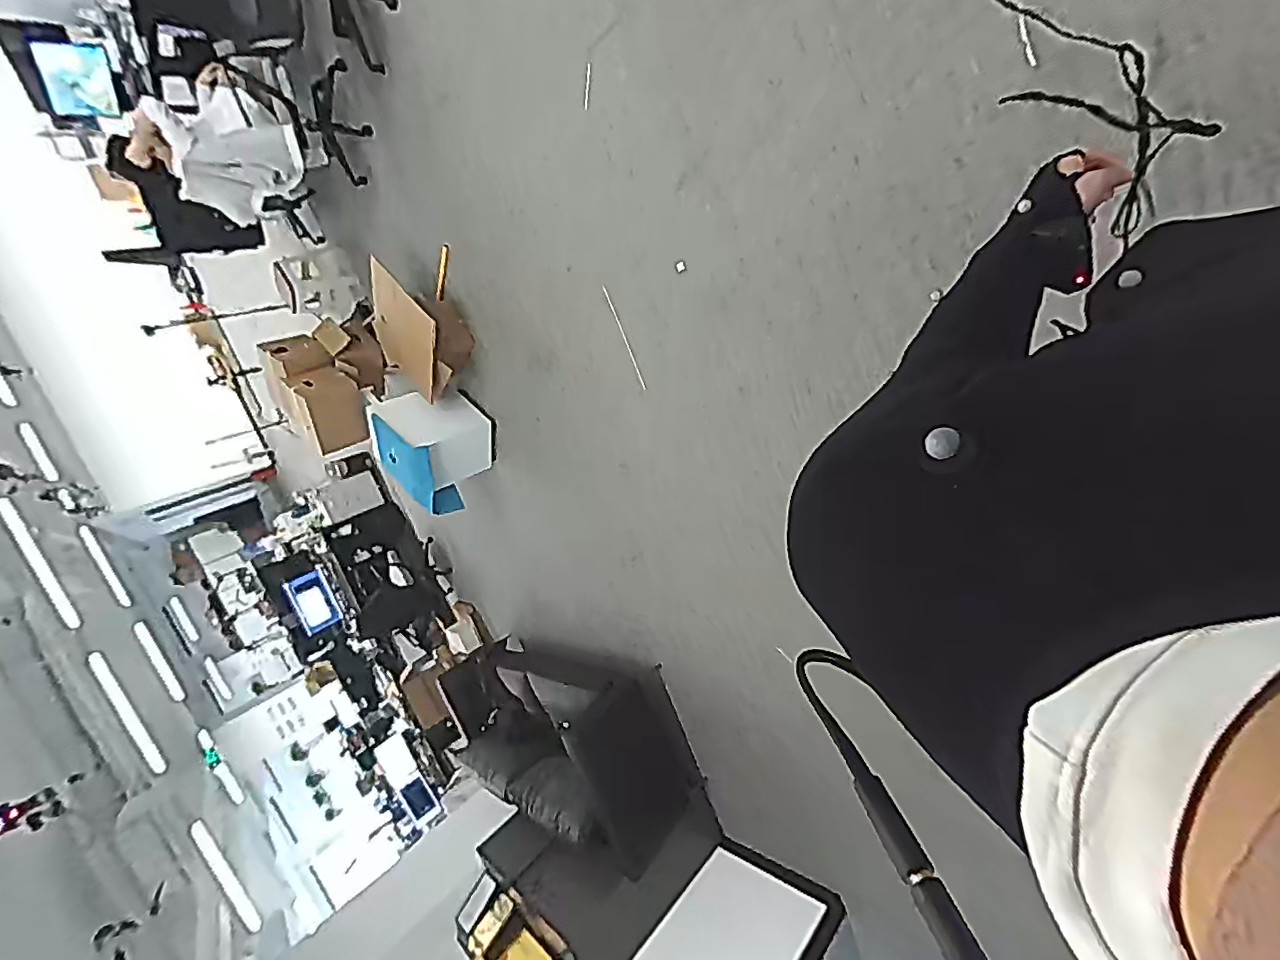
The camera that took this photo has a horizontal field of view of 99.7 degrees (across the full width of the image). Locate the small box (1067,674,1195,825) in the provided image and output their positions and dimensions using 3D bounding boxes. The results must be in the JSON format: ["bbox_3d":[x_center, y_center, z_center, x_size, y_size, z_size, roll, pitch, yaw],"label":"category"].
[{"bbox_3d":[0.959,0.509,1.055,0.168,0.176,0.179,-3,109,49],"label":"small box"}]
